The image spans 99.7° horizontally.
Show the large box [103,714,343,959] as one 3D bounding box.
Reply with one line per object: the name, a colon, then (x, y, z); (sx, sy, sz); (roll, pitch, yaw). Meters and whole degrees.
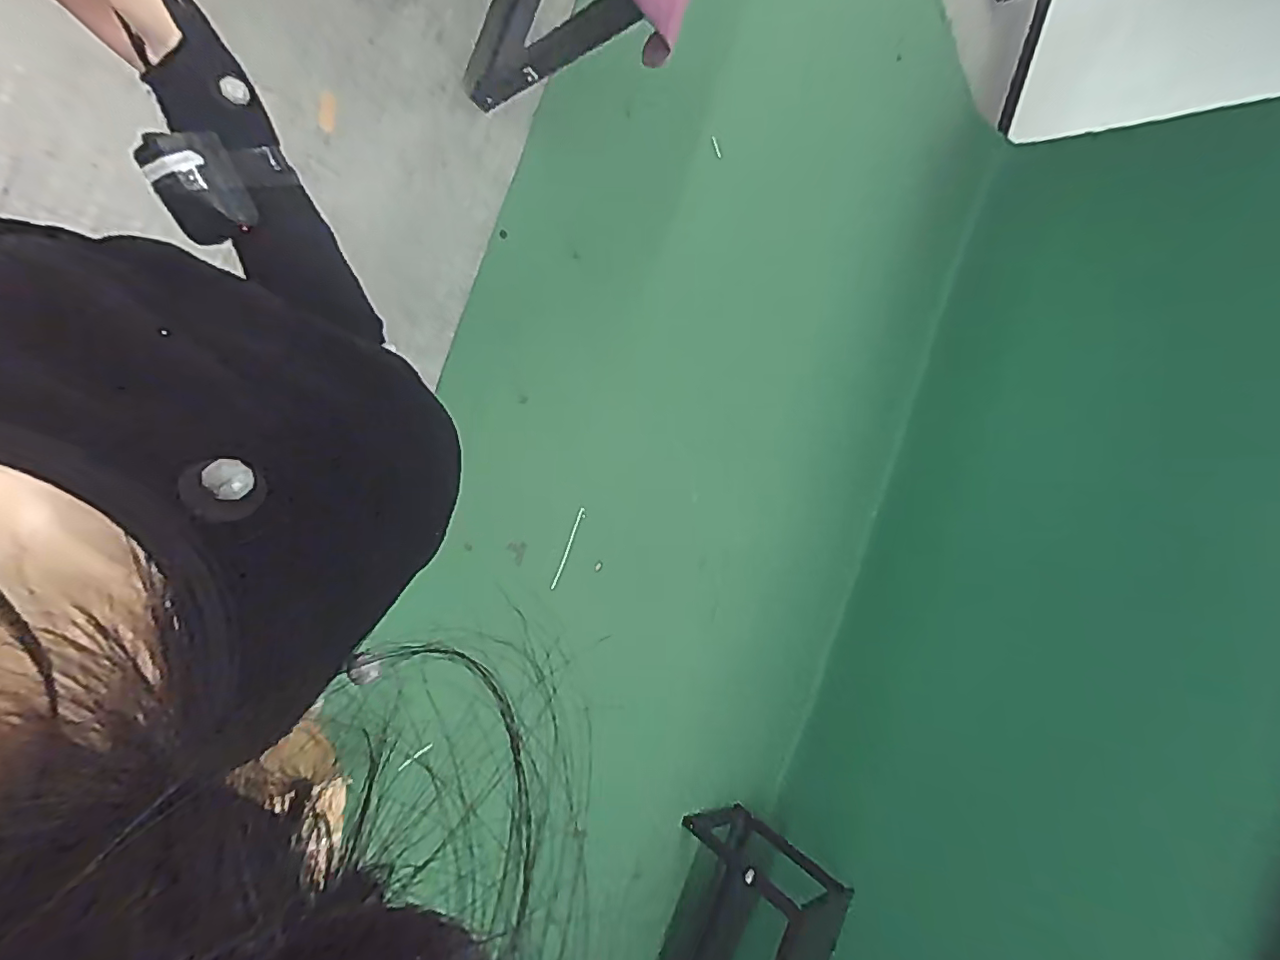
large box: (-0.969, 0.811, 1.263); (0.408, 0.320, 0.320); (2, 101, -45)
